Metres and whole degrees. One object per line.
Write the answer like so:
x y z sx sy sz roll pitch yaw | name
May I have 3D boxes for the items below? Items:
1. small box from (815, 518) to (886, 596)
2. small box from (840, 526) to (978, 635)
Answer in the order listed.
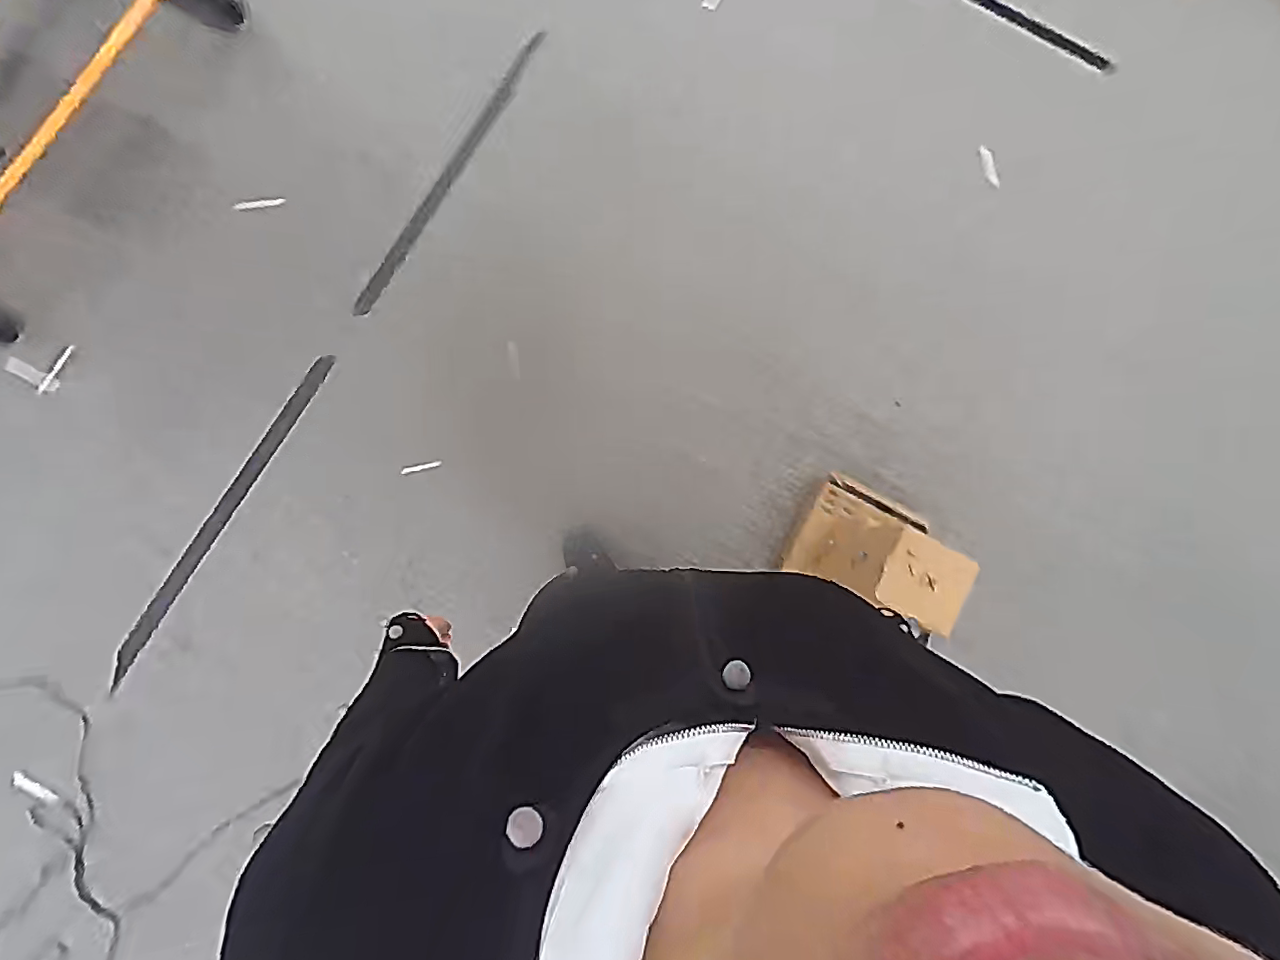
0.567 0.205 1.339 0.179 0.176 0.168 28 84 1 | small box
0.572 0.209 1.173 0.179 0.176 0.168 29 84 0 | small box
